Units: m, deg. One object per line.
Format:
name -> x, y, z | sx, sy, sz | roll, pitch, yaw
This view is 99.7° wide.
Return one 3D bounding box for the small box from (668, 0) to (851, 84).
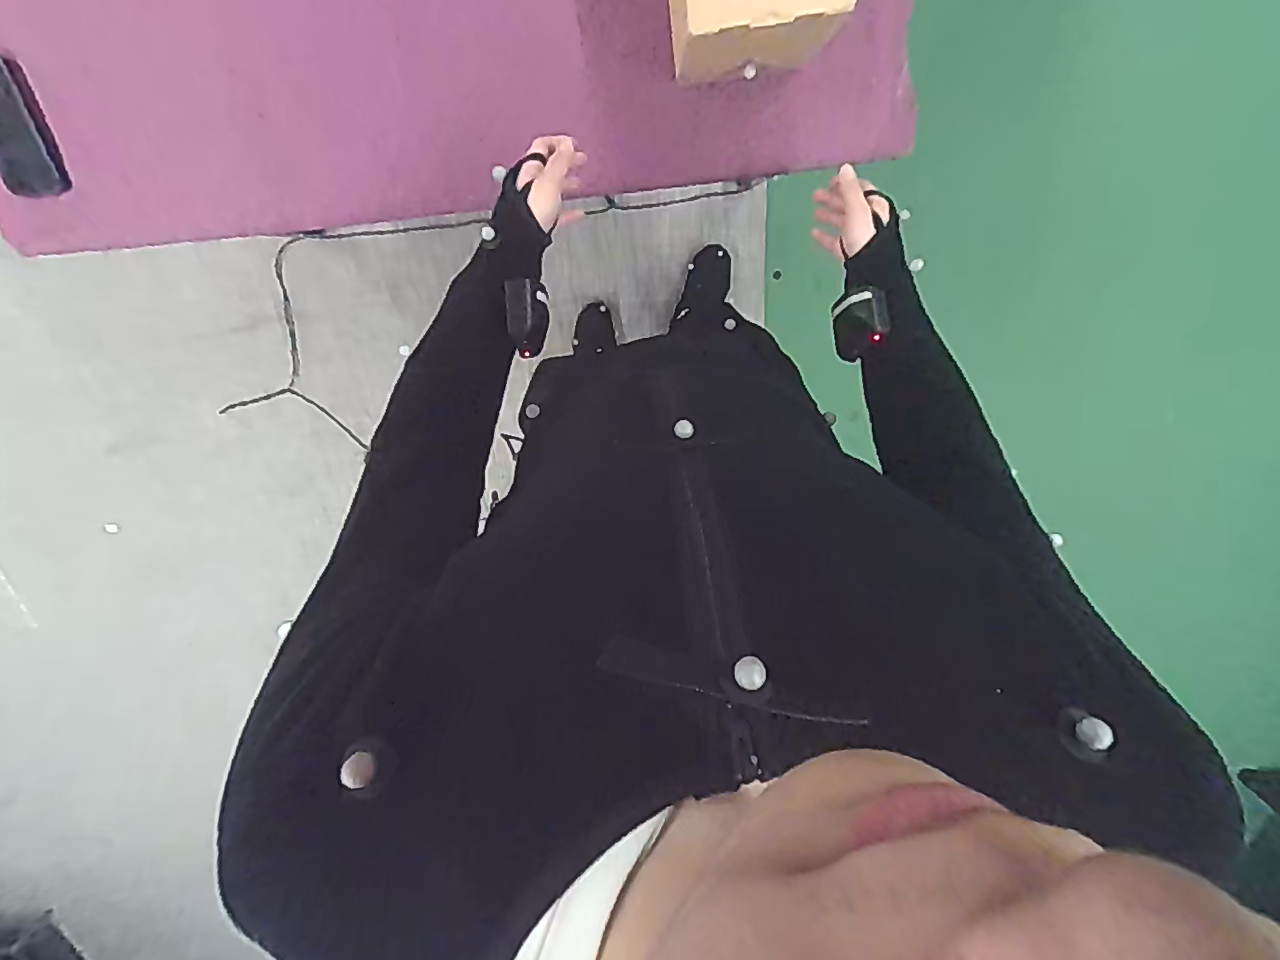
small box -> 0.113, -0.556, 0.569 | 0.168, 0.176, 0.179 | -6, 110, 3
